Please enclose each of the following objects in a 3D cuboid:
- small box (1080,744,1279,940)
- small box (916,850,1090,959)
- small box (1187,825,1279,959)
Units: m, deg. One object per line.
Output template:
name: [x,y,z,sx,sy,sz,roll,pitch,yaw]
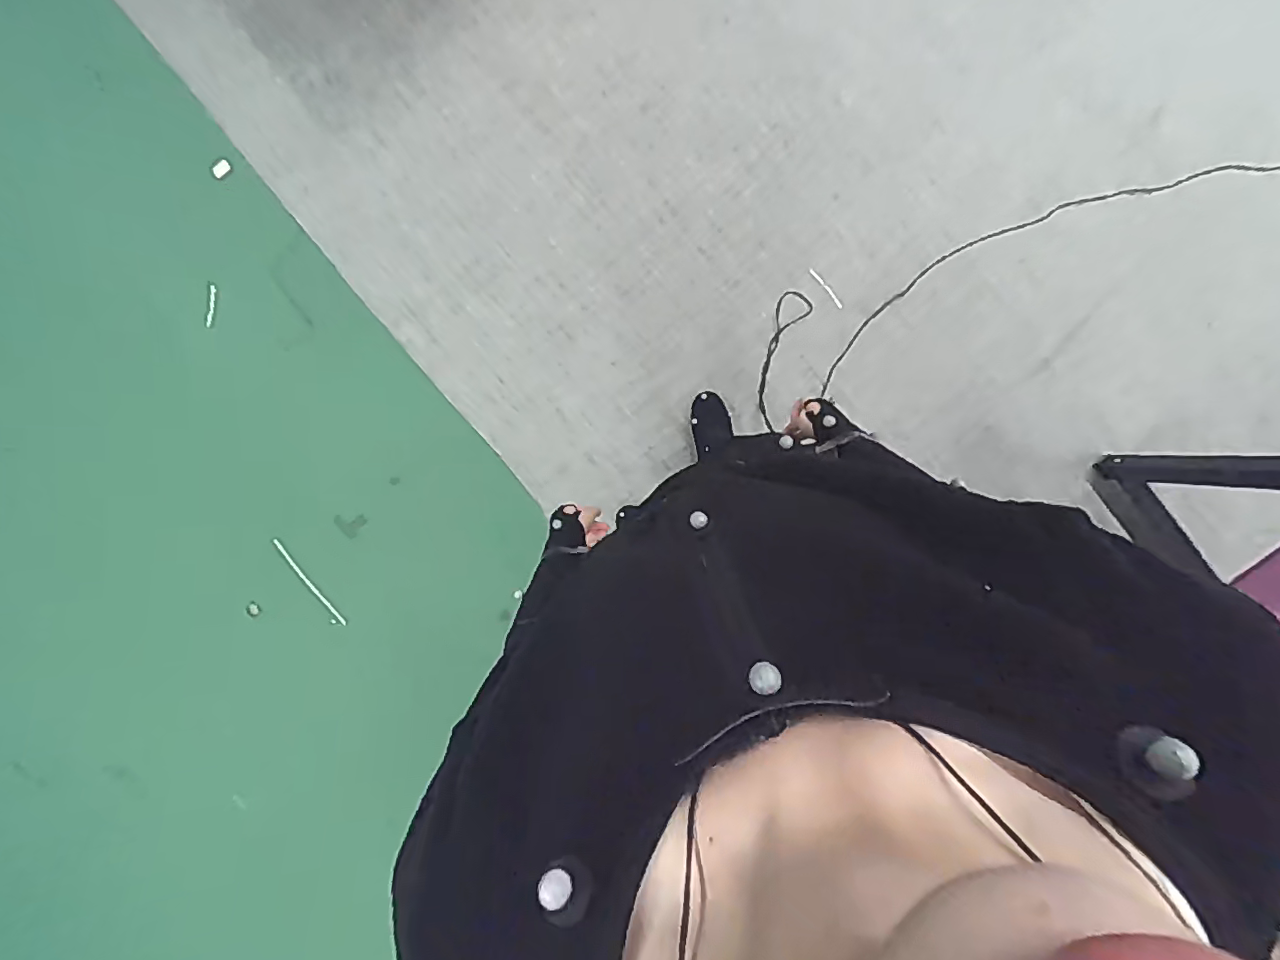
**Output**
small box: [0.753,0.494,0.711,0.168,0.176,0.179,-45,92,3]
small box: [0.506,0.661,0.724,0.179,0.176,0.168,-42,92,3]
small box: [0.725,0.496,0.546,0.179,0.176,0.168,-30,93,2]
